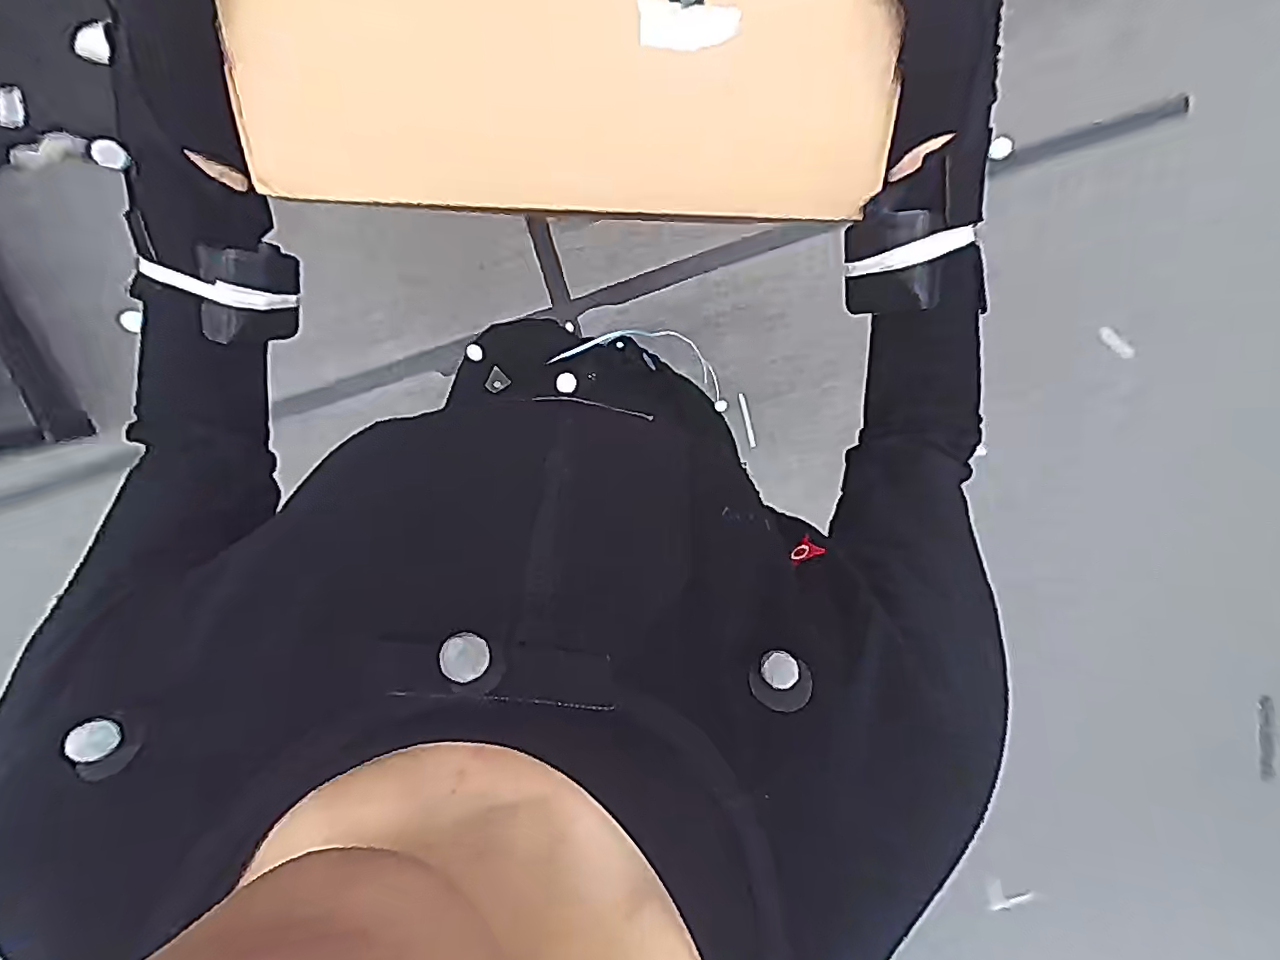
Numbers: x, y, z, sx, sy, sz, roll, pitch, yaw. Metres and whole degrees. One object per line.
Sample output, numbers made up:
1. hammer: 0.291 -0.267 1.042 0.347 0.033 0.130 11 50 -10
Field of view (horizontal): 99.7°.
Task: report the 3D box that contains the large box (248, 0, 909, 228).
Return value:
1. large box: -0.039 -0.386 0.443 0.408 0.320 0.320 2 116 -4
